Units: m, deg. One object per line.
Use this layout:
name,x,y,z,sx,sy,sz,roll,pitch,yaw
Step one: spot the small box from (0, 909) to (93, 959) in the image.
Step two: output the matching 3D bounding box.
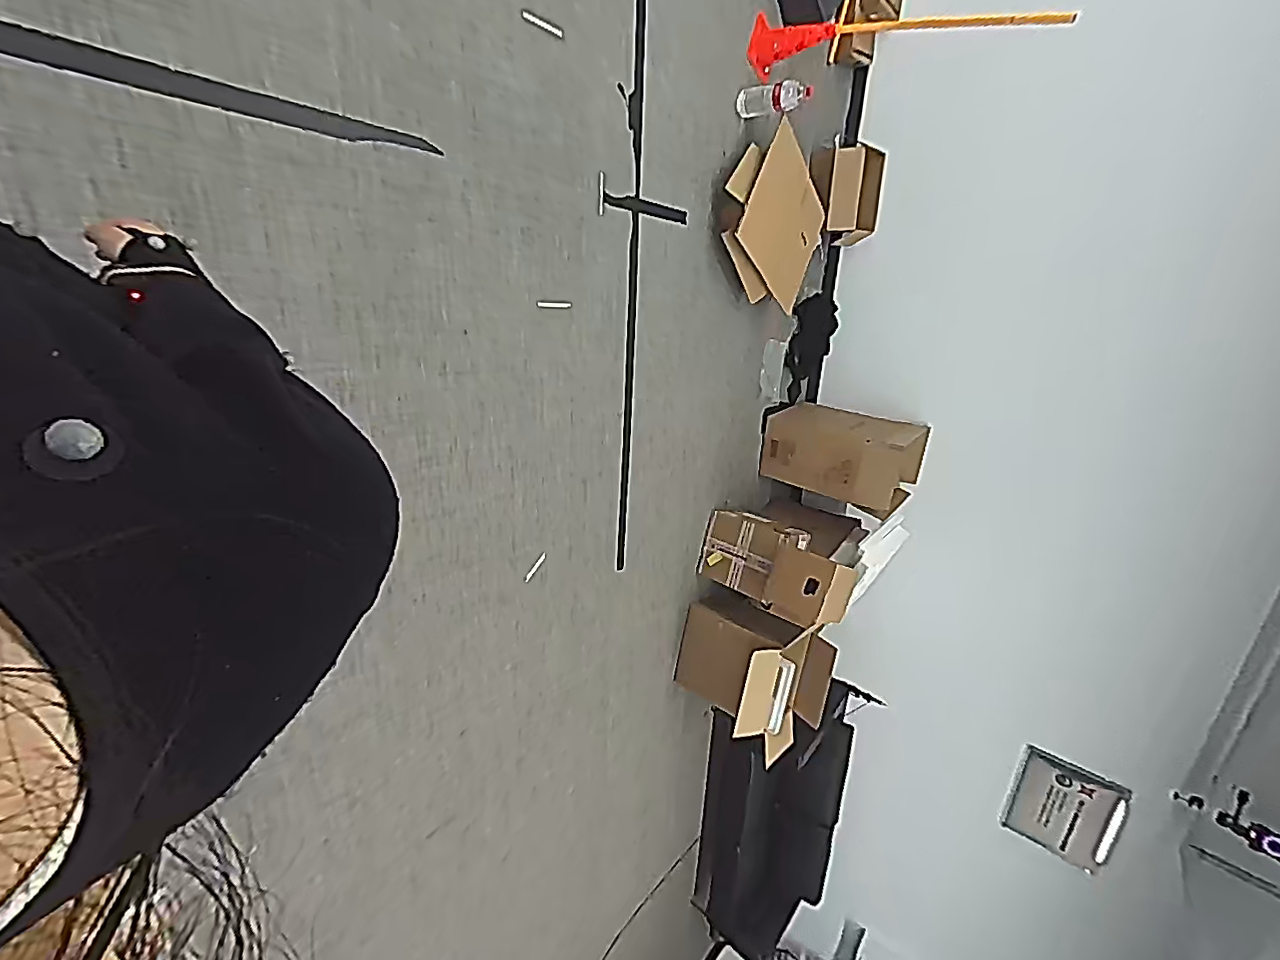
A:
small box,-1.068,0.906,0.929,0.179,0.176,0.168,-20,117,-46
